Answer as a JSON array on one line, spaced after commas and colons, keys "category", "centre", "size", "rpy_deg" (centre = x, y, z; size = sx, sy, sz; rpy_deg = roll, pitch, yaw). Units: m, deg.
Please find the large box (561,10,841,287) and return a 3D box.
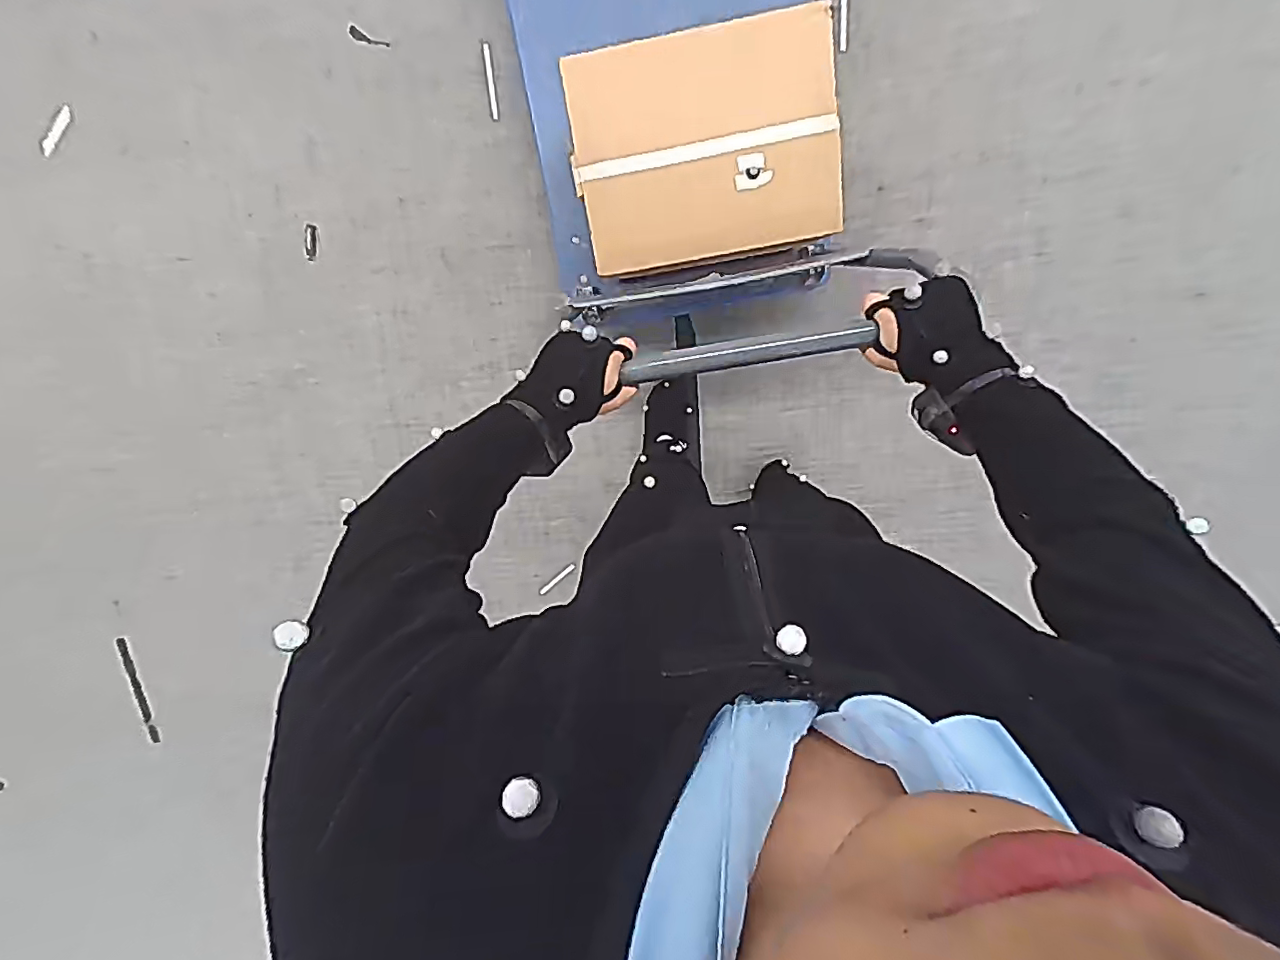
[{"category": "large box", "centre": [0.103, -0.549, 0.980], "size": [0.408, 0.320, 0.320], "rpy_deg": [-9, 110, 4]}]
